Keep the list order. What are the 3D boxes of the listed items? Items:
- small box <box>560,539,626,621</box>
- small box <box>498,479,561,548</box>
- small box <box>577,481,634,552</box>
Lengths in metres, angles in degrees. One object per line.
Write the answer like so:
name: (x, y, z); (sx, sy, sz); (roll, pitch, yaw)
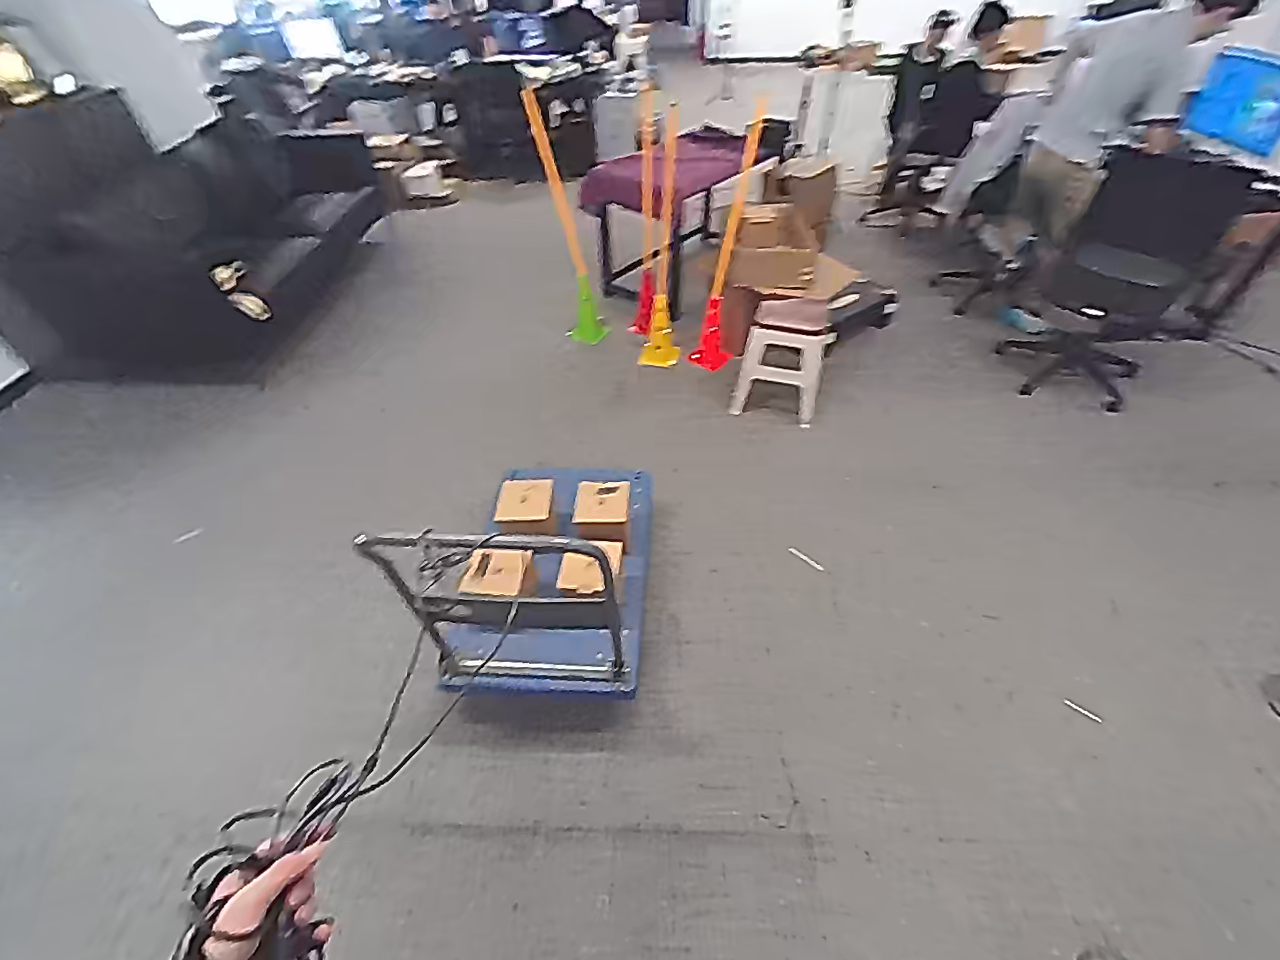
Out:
small box: (-0.134, 0.300, 1.629); (0.168, 0.176, 0.179); (3, 47, 6)
small box: (-0.364, 0.115, 1.819); (0.168, 0.176, 0.179); (-1, 46, 2)
small box: (-0.109, 0.121, 1.799); (0.168, 0.176, 0.179); (0, 47, 4)
